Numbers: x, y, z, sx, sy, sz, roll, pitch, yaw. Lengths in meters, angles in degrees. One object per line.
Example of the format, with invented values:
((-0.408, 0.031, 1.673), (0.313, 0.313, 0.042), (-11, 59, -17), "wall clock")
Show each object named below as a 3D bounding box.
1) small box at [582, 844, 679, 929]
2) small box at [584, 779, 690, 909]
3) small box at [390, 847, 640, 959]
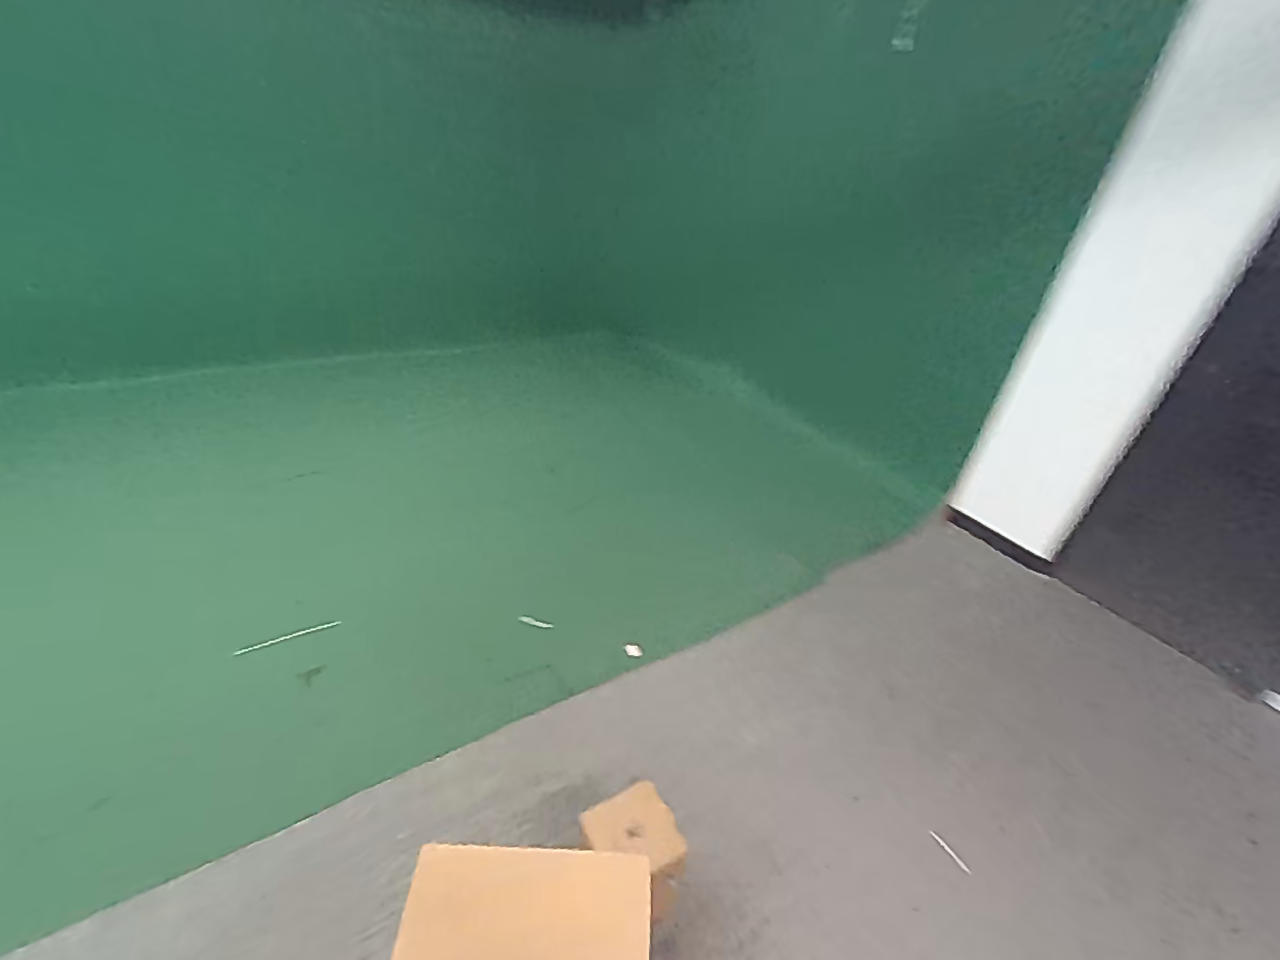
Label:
((-0.027, 0.932, 1.265), (0.179, 0.176, 0.168), (-12, 38, -23), "small box")
((-0.014, 0.799, 1.171), (0.179, 0.176, 0.168), (-15, 38, -26), "small box")
((-0.090, 0.391, 0.393), (0.168, 0.176, 0.179), (4, 45, -3), "small box")
